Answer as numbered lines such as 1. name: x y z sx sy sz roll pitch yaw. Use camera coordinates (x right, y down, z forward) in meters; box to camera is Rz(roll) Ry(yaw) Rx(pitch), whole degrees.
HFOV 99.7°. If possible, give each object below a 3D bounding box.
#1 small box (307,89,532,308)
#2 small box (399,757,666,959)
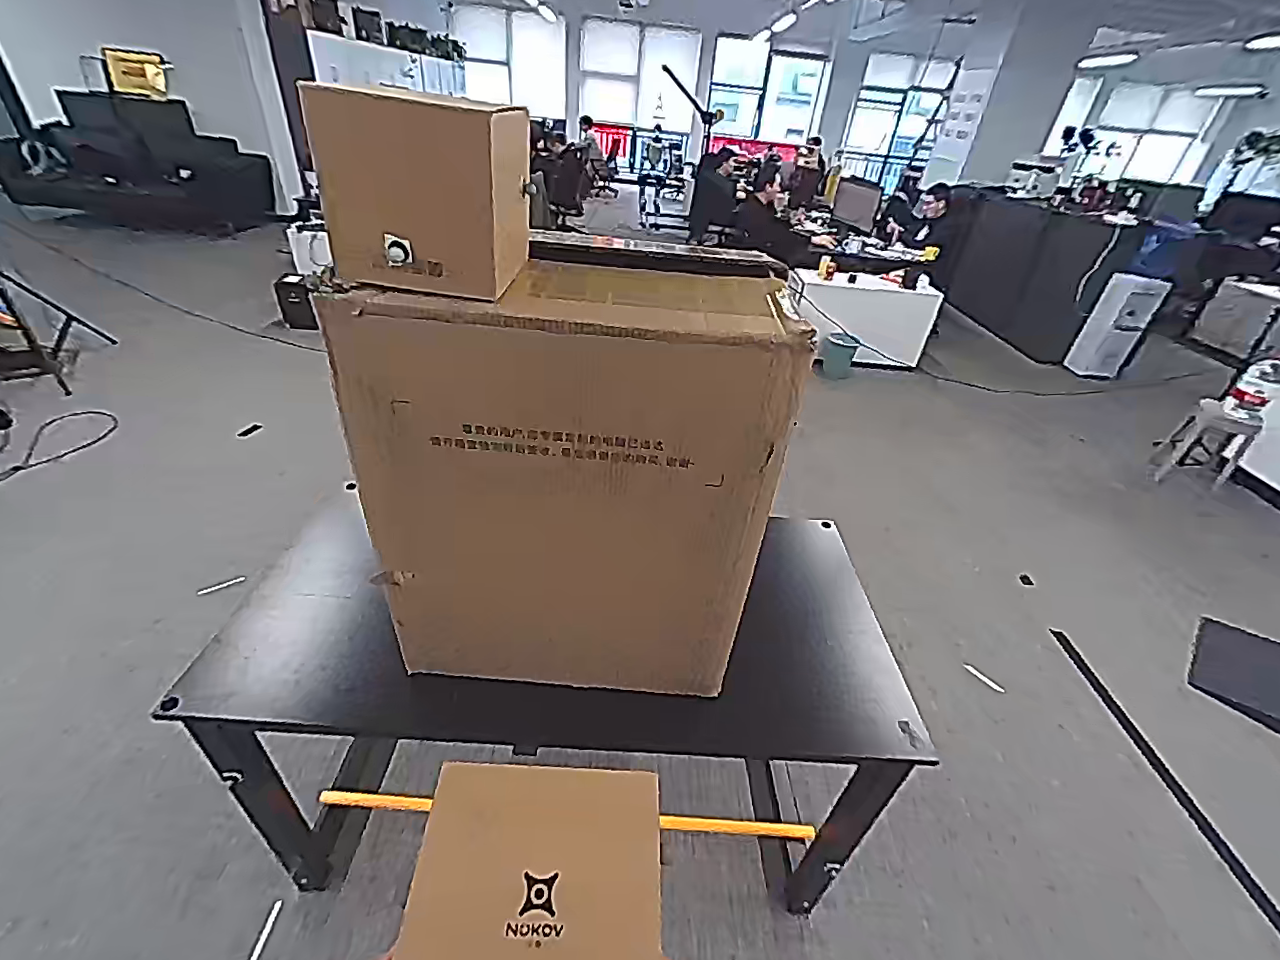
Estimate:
1. small box: -0.214 -0.301 0.578 0.168 0.176 0.179 6 36 -3
2. small box: -0.074 0.335 0.406 0.168 0.176 0.179 5 43 -4
